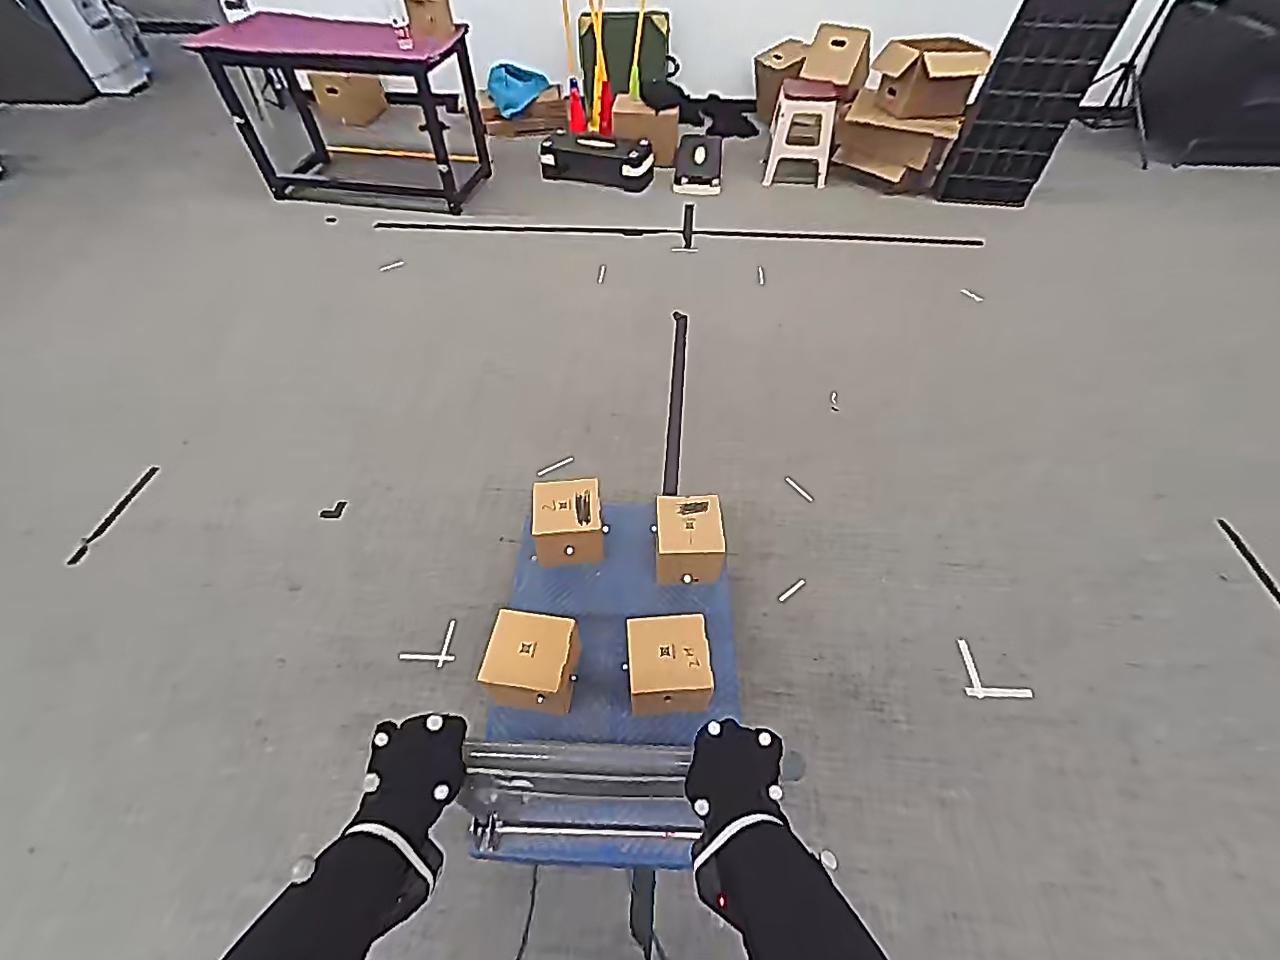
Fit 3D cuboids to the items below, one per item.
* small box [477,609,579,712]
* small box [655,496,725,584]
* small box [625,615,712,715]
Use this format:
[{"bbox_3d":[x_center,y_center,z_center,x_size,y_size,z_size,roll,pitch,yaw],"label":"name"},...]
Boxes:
[{"bbox_3d":[-0.244,0.413,1.225,0.179,0.176,0.168,7,52,4],"label":"small box"},{"bbox_3d":[0.126,0.159,1.426,0.168,0.176,0.179,-1,52,0],"label":"small box"},{"bbox_3d":[0.060,0.419,1.218,0.179,0.176,0.168,-3,52,-2],"label":"small box"}]
